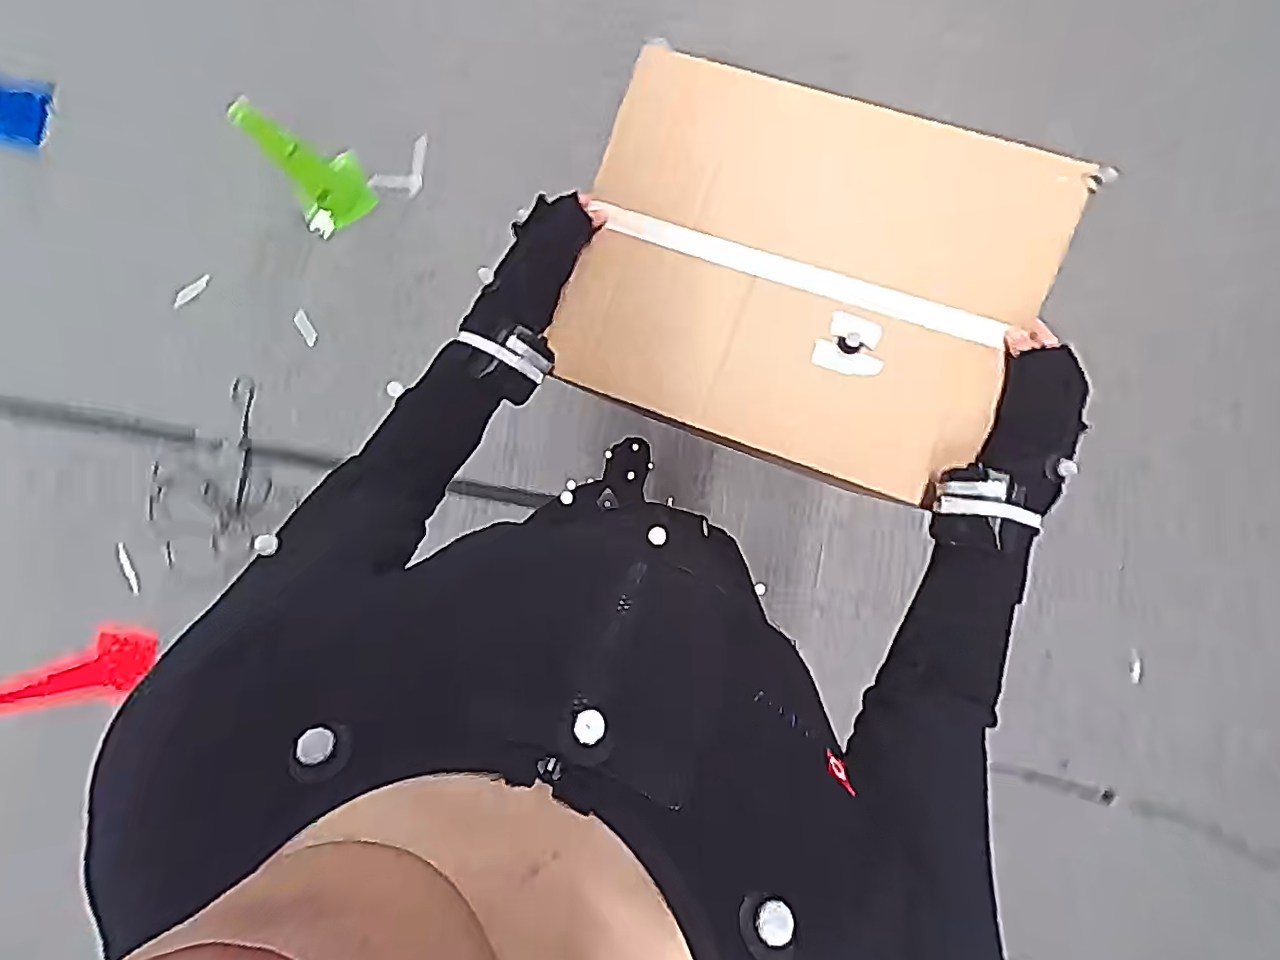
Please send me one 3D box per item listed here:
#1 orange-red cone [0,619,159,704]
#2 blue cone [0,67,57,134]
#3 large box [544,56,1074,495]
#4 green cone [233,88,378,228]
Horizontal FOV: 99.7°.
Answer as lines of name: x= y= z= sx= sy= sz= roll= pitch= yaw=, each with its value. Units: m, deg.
orange-red cone: x=-1.548 y=0.519 z=1.443 sx=0.199 sy=0.360 sz=0.198 roll=7 pitch=89 yaw=4
blue cone: x=-1.981 y=-1.213 z=1.565 sx=0.193 sy=0.380 sz=0.192 roll=13 pitch=88 yaw=6
large box: x=0.155 y=-0.196 z=0.639 sx=0.408 sy=0.320 sz=0.320 roll=20 pitch=95 yaw=6
green cone: x=-0.908 y=-0.879 z=1.433 sx=0.200 sy=0.368 sz=0.202 roll=-28 pitch=84 yaw=3
